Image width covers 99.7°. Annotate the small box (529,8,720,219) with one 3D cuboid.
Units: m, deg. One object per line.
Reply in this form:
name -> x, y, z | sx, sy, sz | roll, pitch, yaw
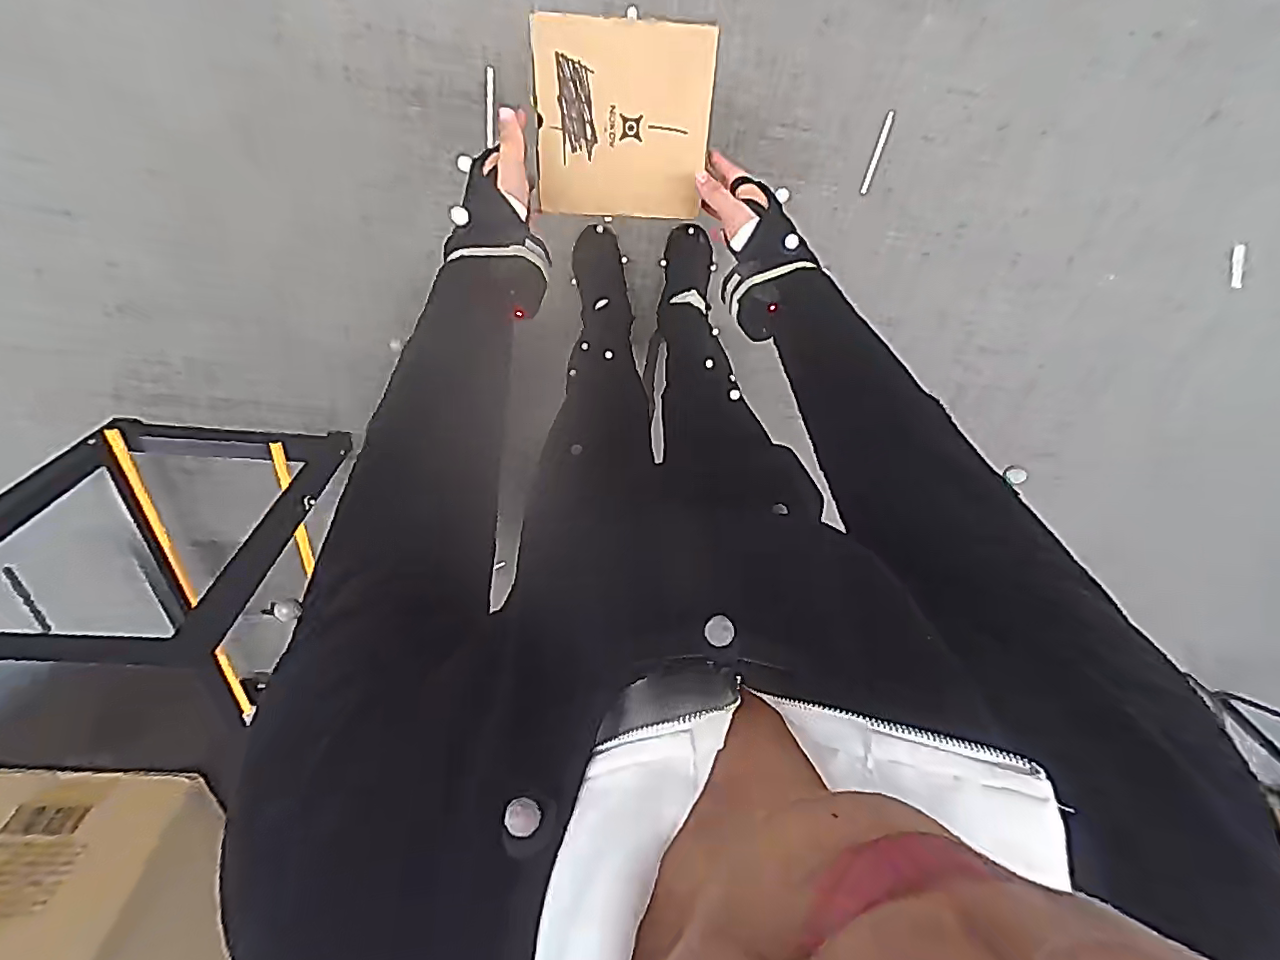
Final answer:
small box -> -0.021, -0.397, 0.599 | 0.179, 0.176, 0.168 | 1, 126, -4
